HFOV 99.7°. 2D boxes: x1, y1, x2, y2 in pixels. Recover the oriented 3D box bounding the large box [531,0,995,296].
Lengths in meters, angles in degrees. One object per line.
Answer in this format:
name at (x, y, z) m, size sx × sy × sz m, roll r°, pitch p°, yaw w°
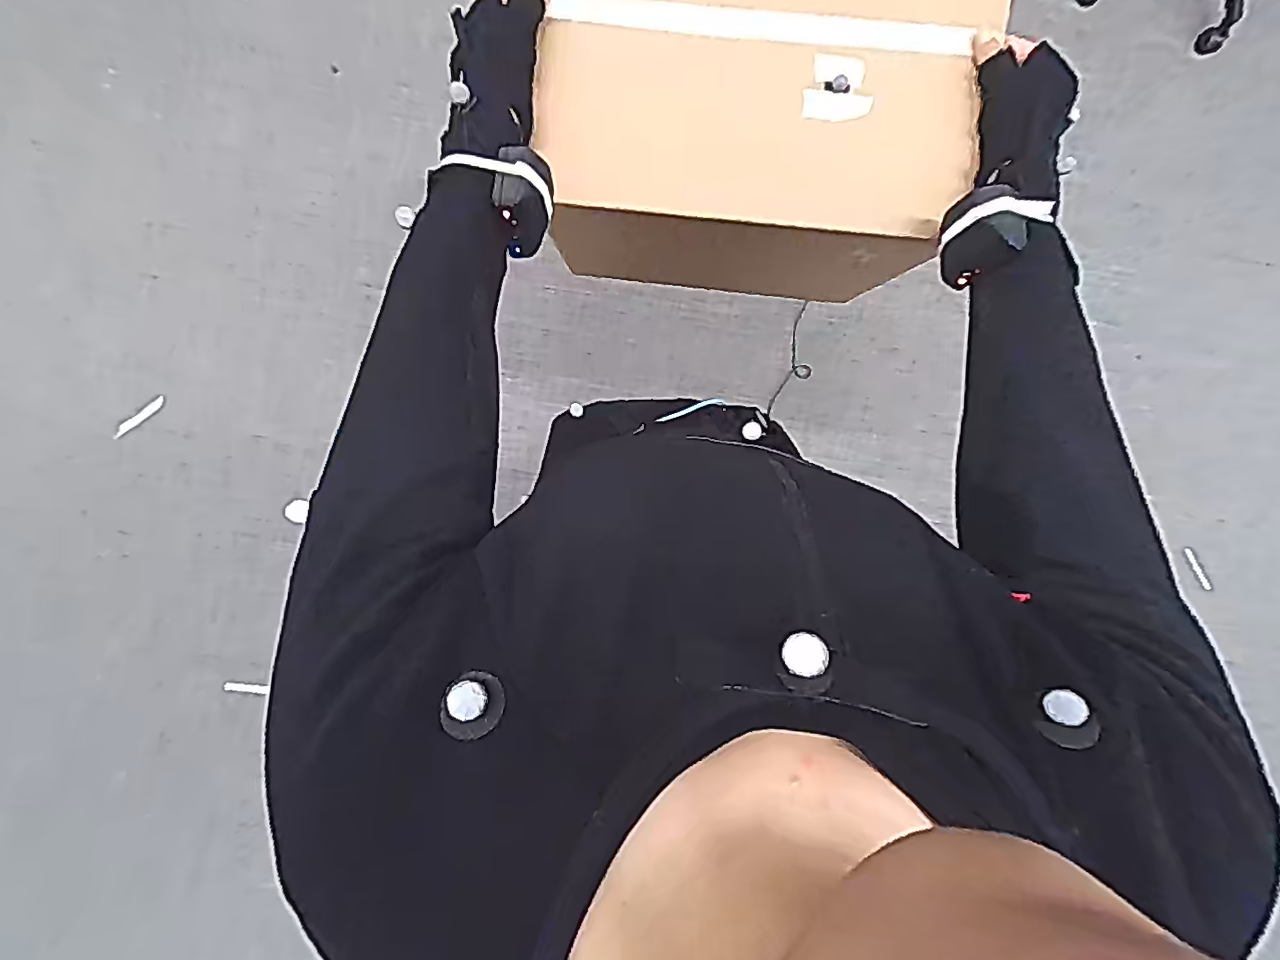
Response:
large box at (0.107, -0.414, 0.625) m, size 0.408 × 0.320 × 0.320 m, roll 6°, pitch 99°, yaw 0°
